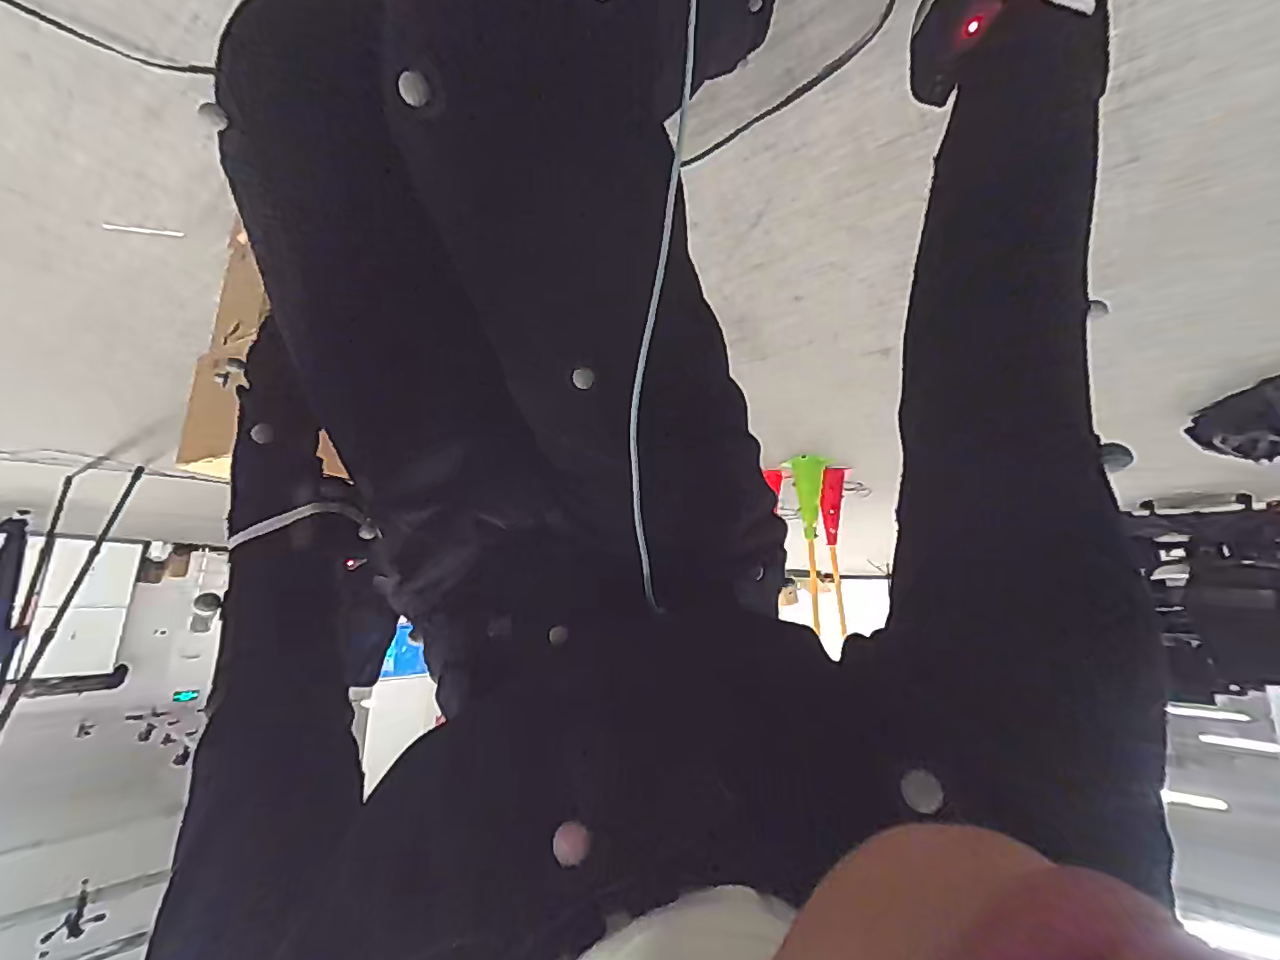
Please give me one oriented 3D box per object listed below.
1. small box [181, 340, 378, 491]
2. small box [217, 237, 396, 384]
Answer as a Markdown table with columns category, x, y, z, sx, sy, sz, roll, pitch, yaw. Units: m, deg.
| category | x | y | z | sx | sy | sz | roll | pitch | yaw |
| --- | --- | --- | --- | --- | --- | --- | --- | --- | --- |
| small box | -0.516 | -0.085 | 0.794 | 0.168 | 0.176 | 0.179 | -5 | 165 | 29 |
| small box | -0.503 | -0.244 | 0.827 | 0.168 | 0.176 | 0.179 | -7 | 166 | 34 |
